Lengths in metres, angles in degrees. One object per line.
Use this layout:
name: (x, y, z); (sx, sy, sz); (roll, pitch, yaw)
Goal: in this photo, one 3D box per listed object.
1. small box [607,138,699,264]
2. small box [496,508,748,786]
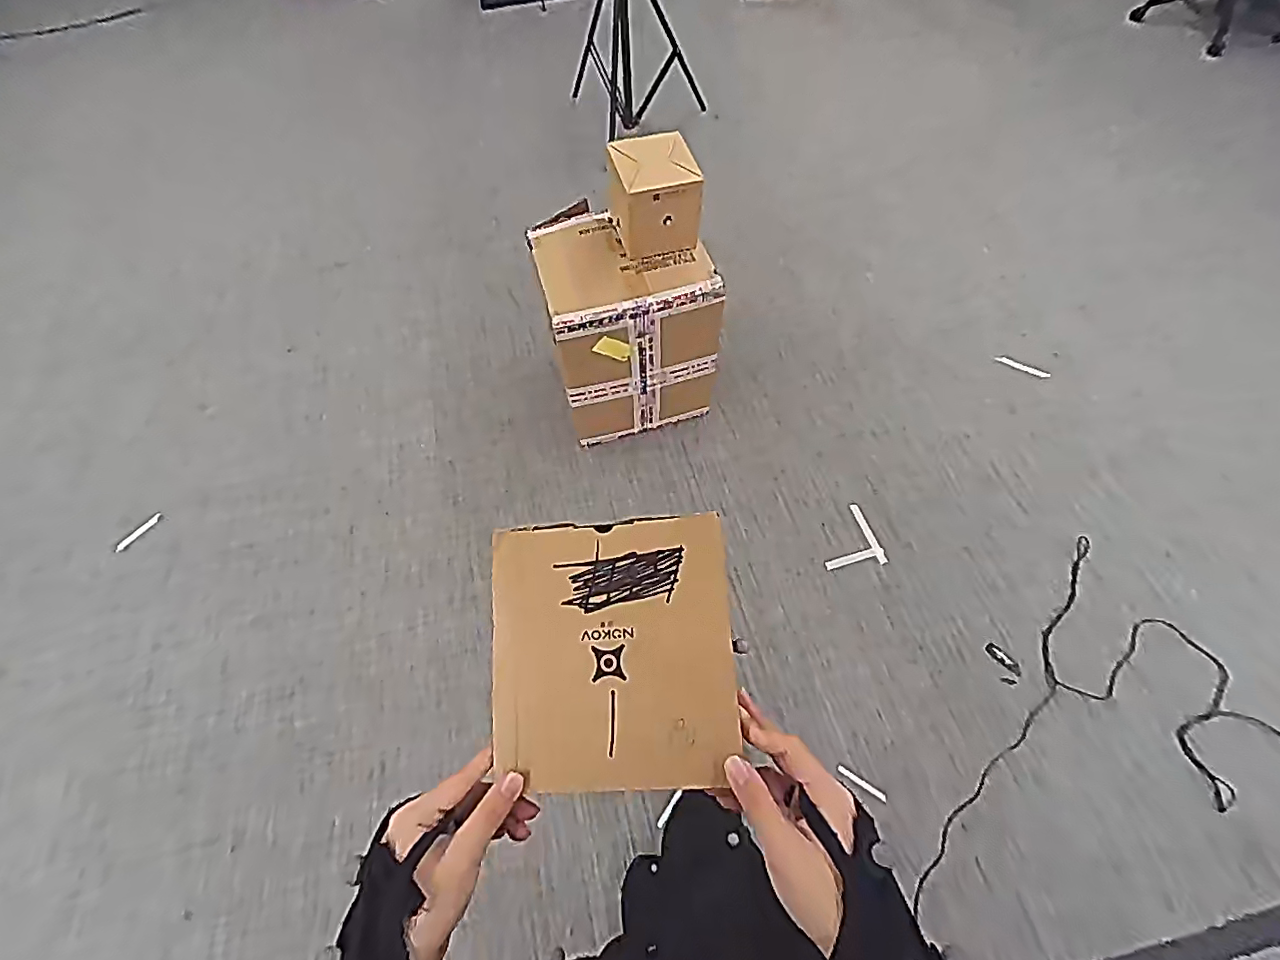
small box: (0.026, -0.619, 1.201); (0.168, 0.176, 0.179); (-14, 64, -8)
small box: (-0.009, 0.128, 0.443); (0.168, 0.176, 0.179); (-5, 77, 6)
